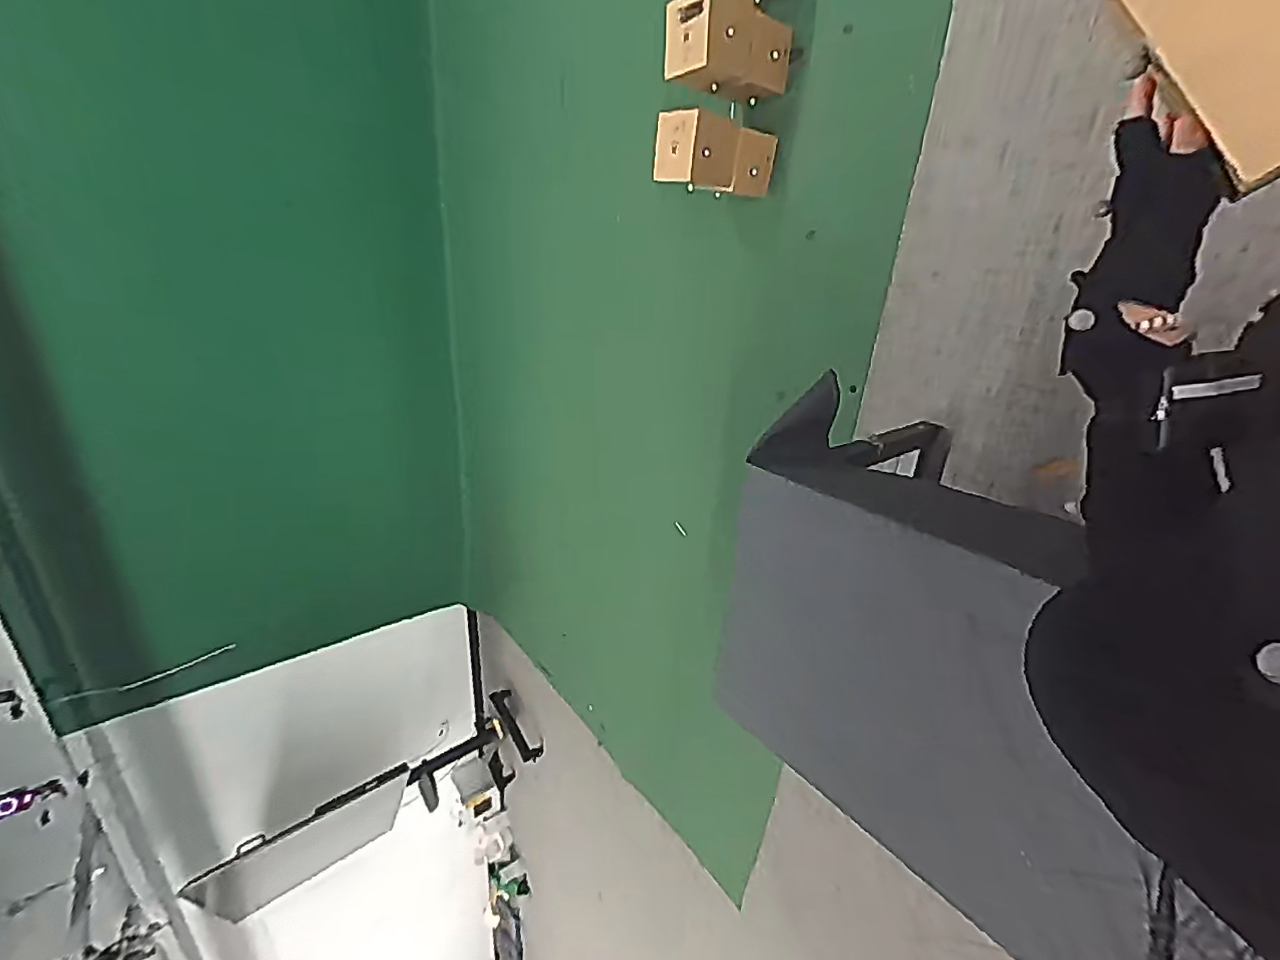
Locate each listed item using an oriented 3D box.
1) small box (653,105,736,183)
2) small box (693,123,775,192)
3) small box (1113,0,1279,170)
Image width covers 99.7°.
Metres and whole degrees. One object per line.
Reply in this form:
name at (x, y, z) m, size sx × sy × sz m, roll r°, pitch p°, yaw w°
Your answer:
small box at (0.161, -0.980, 1.587) m, size 0.168 × 0.176 × 0.179 m, roll 33°, pitch 126°, yaw 42°
small box at (0.294, -1.001, 1.683) m, size 0.179 × 0.176 × 0.168 m, roll 34°, pitch 127°, yaw 42°
small box at (0.389, -0.302, 0.294) m, size 0.168 × 0.176 × 0.179 m, roll -33°, pitch 82°, yaw 48°
